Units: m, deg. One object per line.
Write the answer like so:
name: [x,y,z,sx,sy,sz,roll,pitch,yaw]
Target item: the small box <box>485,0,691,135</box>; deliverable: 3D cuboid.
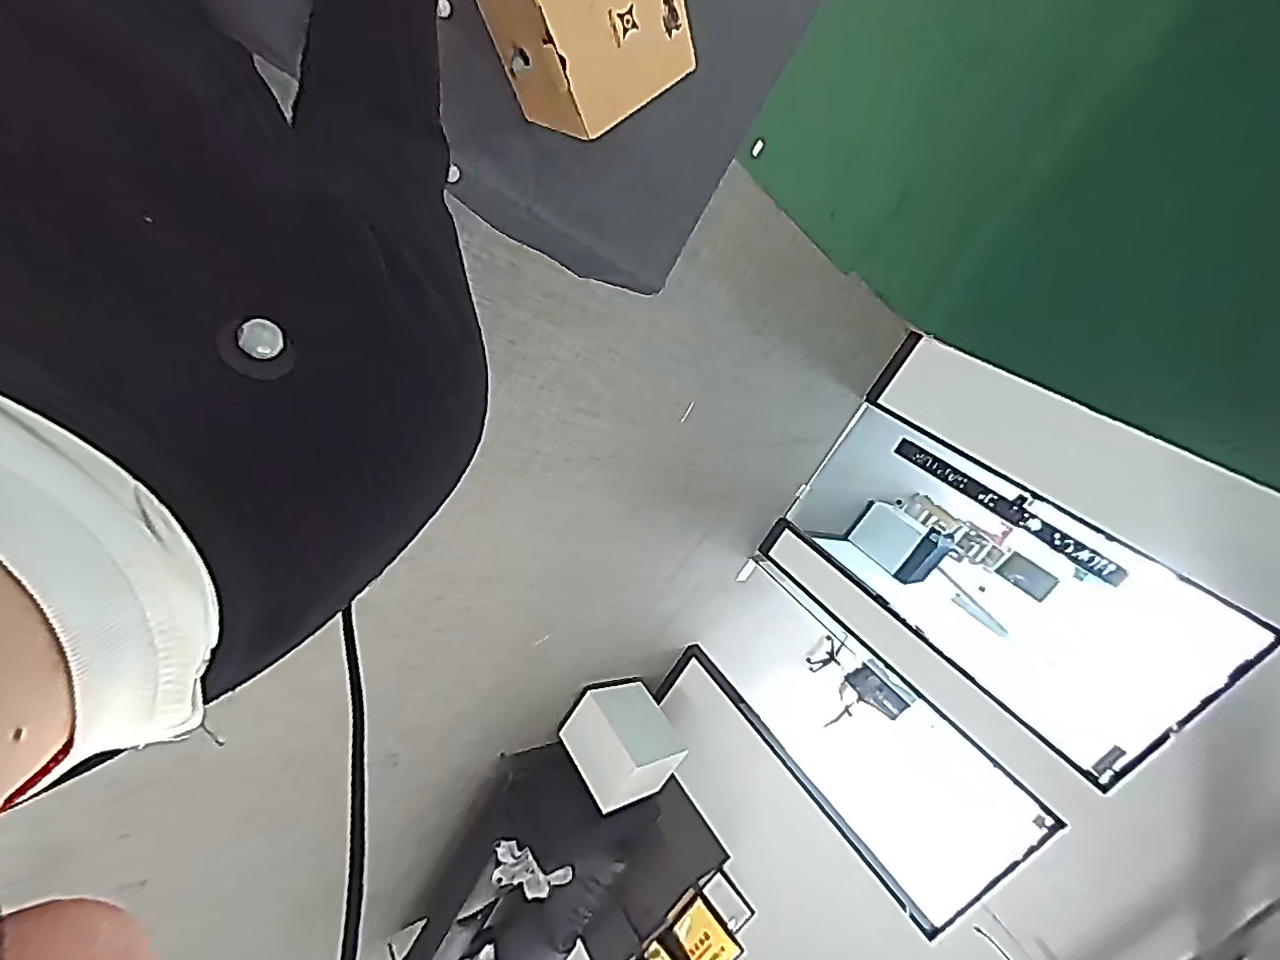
small box: [-0.069,-0.555,0.653,0.179,0.176,0.168,-37,143,-8]
